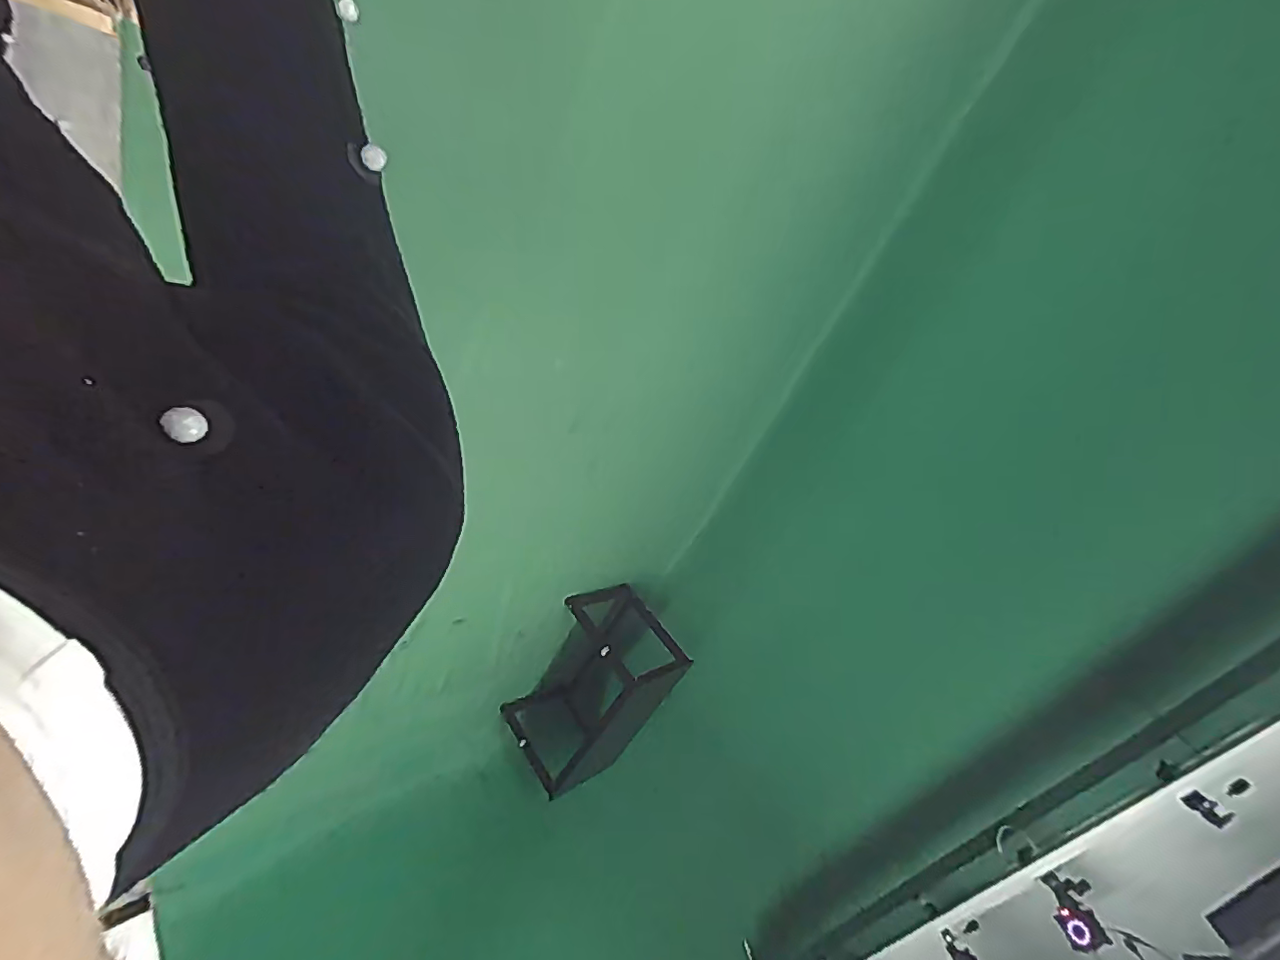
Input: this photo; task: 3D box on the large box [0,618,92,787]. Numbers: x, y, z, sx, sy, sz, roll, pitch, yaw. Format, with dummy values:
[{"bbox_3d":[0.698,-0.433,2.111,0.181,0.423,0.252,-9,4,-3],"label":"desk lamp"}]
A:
[{"bbox_3d":[-1.828,0.644,1.441,0.408,0.320,0.320,-32,149,-21],"label":"large box"}]
